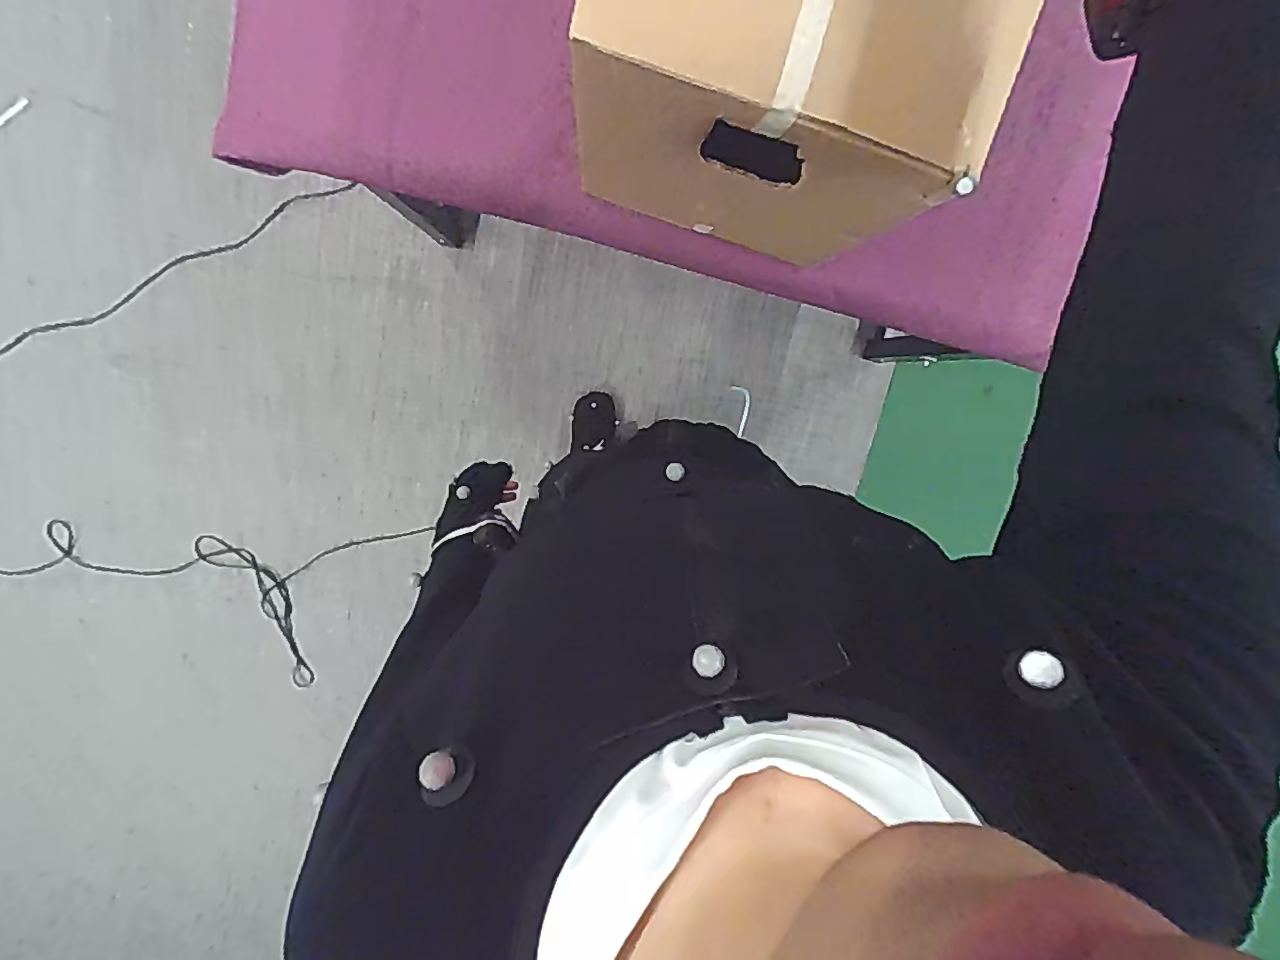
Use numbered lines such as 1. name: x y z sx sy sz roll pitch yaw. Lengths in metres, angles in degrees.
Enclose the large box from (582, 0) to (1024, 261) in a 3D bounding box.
1. large box: 0.143 -0.482 0.516 0.320 0.320 0.408 15 100 -7
